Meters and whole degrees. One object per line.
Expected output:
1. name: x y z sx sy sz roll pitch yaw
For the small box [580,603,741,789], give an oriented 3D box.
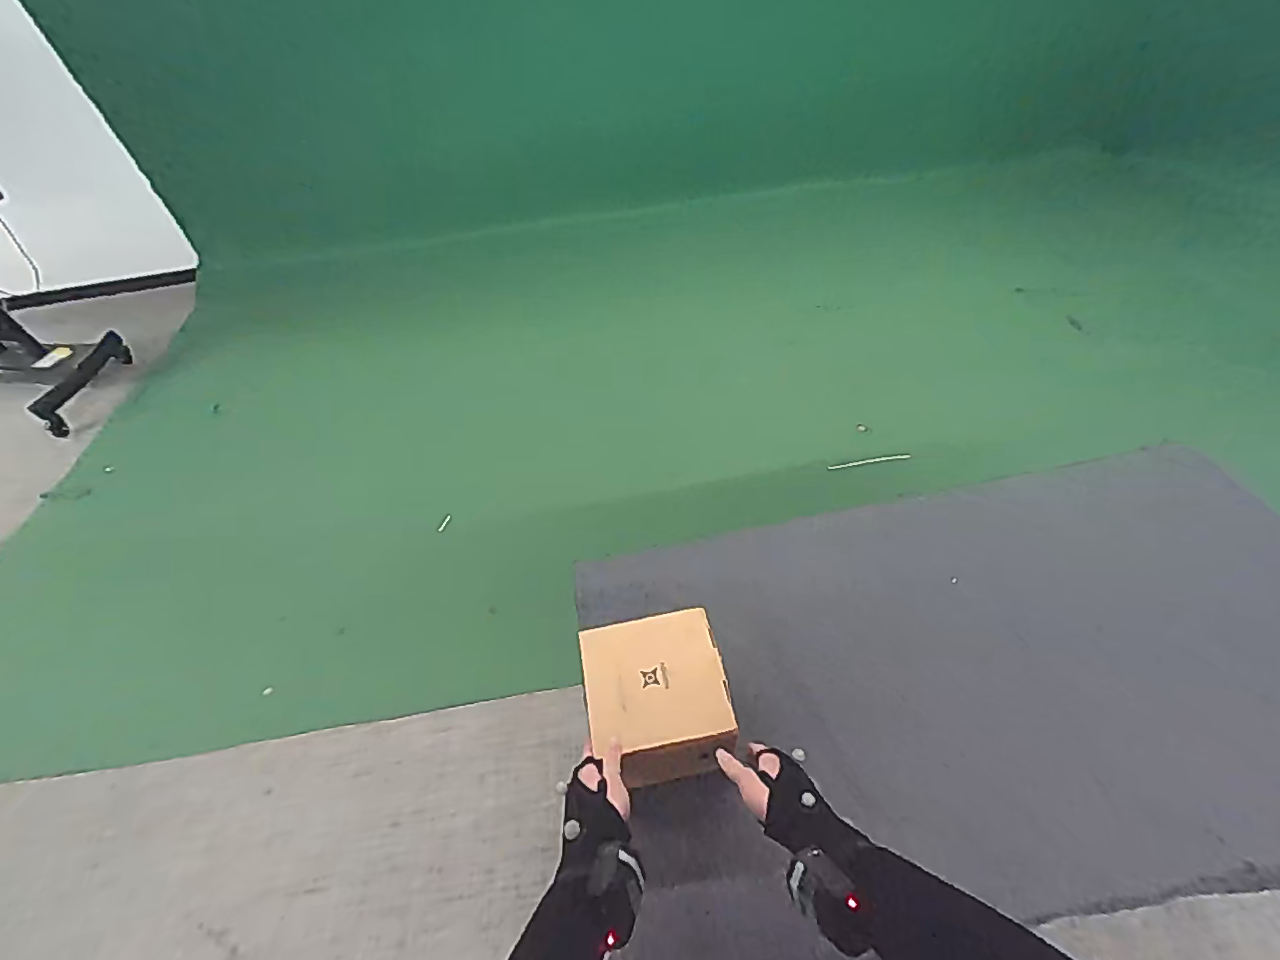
1. small box: 0.024 0.292 0.728 0.179 0.176 0.168 -11 47 -4
